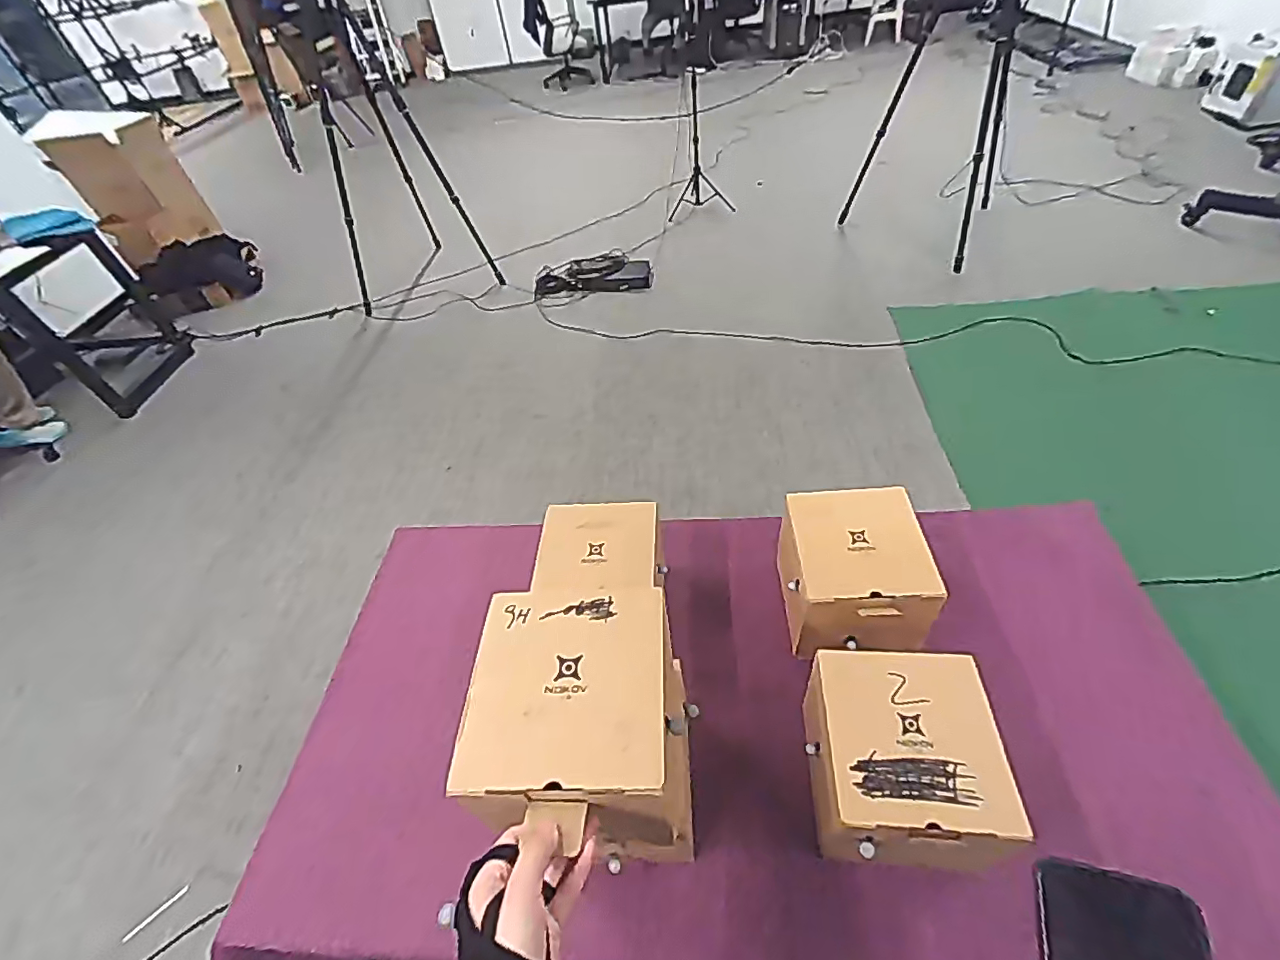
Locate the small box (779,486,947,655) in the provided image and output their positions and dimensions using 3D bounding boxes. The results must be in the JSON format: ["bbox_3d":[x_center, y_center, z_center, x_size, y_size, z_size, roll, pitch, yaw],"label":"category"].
[{"bbox_3d":[0.297,0.130,0.767,0.168,0.176,0.179,-4,49,6],"label":"small box"}]

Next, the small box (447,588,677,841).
[{"bbox_3d":[-0.053,0.223,0.508,0.168,0.176,0.179,-3,45,5],"label":"small box"}]

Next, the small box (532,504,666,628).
[{"bbox_3d":[-0.050,0.156,0.802,0.168,0.176,0.179,-2,48,6],"label":"small box"}]

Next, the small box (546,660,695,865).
[{"bbox_3d":[-0.024,0.332,0.635,0.168,0.176,0.179,-5,47,6],"label":"small box"}]
